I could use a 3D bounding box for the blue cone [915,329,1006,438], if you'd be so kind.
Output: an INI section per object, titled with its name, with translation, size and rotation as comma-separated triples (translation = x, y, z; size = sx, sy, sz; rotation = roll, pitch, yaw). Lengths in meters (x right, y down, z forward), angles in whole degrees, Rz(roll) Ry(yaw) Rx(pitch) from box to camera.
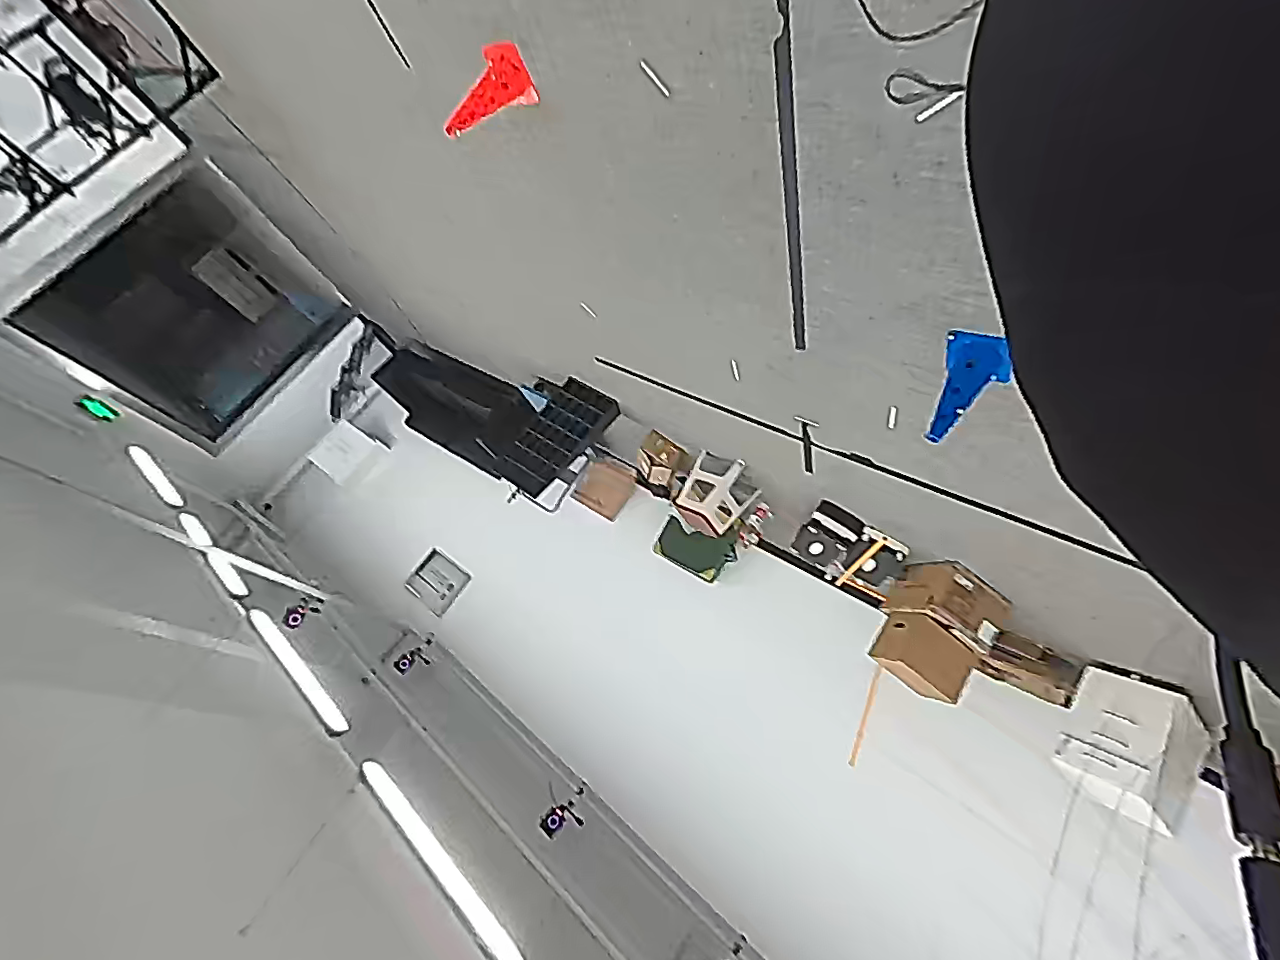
[blue cone]
translation = 0.998, -0.287, 1.740
size = 0.192, 0.380, 0.193
rotation = 26, 163, 36

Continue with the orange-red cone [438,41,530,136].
[orange-red cone]
translation = -0.605, -1.385, 1.975
size = 0.198, 0.360, 0.199
rotation = 27, 164, 35
